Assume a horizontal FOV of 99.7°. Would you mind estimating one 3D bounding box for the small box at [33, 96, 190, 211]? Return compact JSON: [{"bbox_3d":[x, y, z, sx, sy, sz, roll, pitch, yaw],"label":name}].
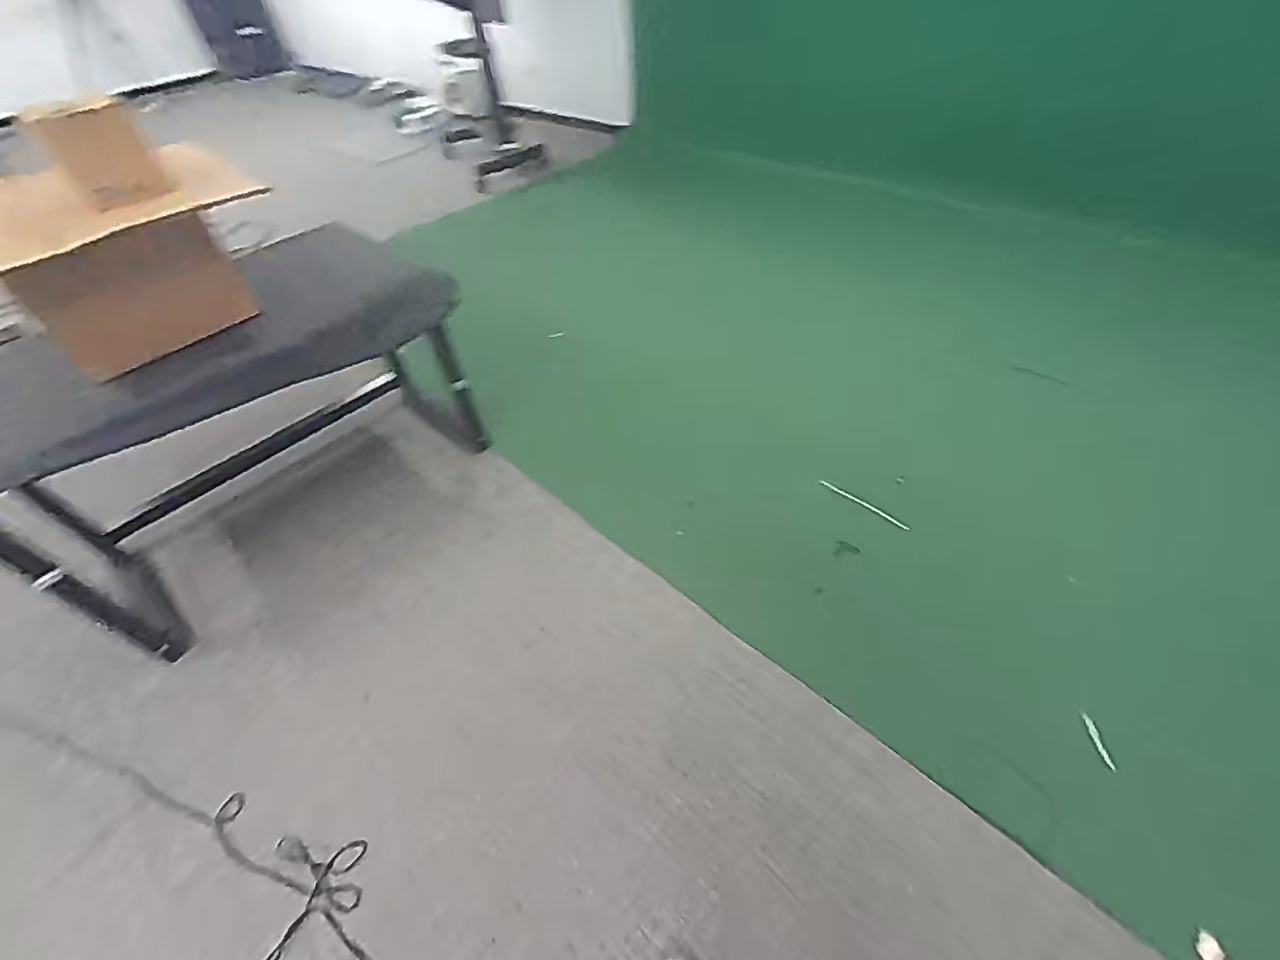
[{"bbox_3d":[-1.134,-0.705,1.173,0.179,0.176,0.168,32,56,30],"label":"small box"}]
